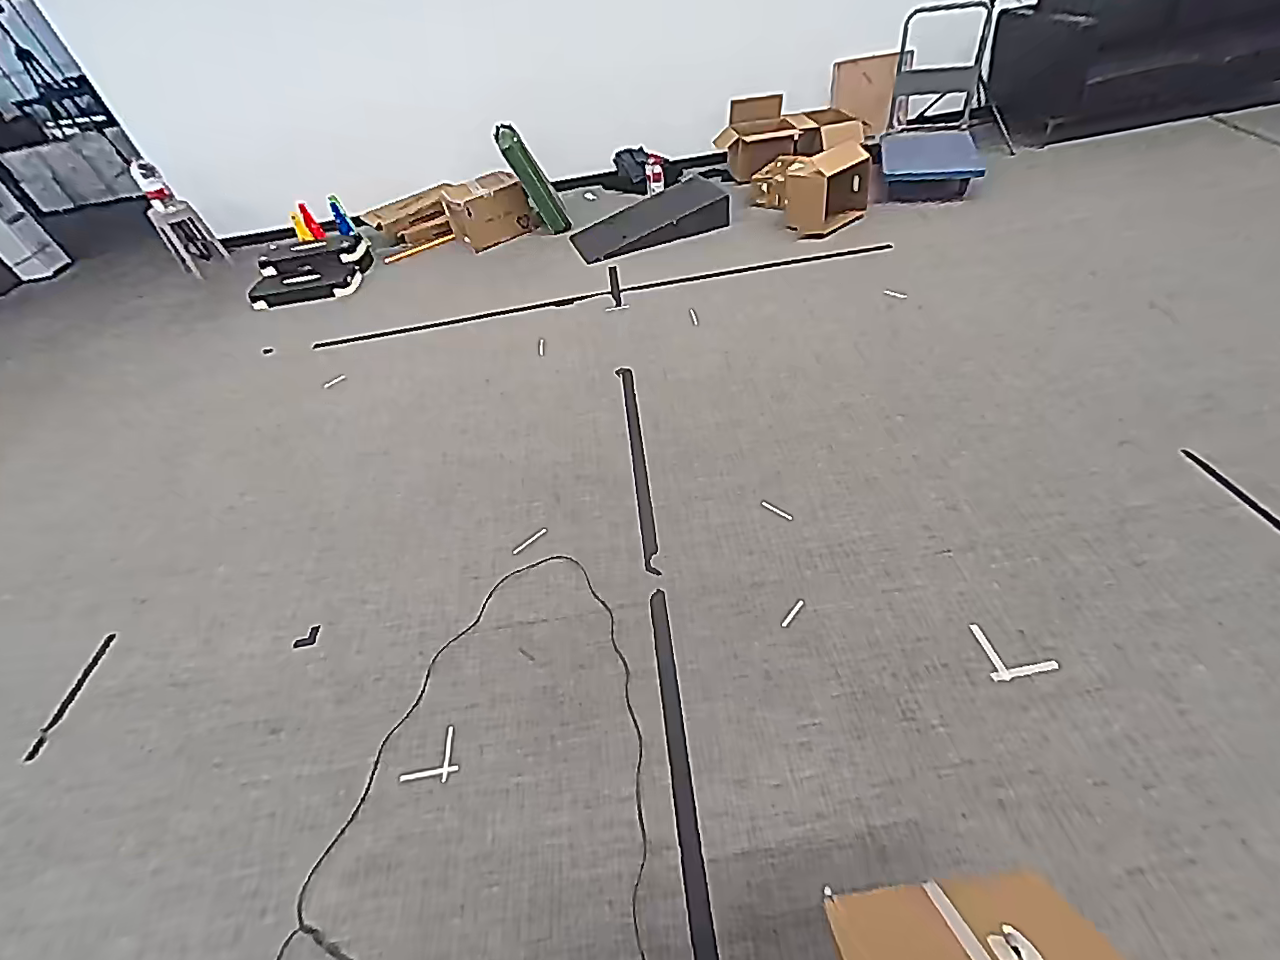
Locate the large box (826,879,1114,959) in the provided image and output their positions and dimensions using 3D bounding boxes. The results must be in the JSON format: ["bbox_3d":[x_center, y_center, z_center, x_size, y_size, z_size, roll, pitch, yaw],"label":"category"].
[{"bbox_3d":[0.441,0.741,0.588,0.320,0.408,0.320,-10,84,3],"label":"large box"}]
